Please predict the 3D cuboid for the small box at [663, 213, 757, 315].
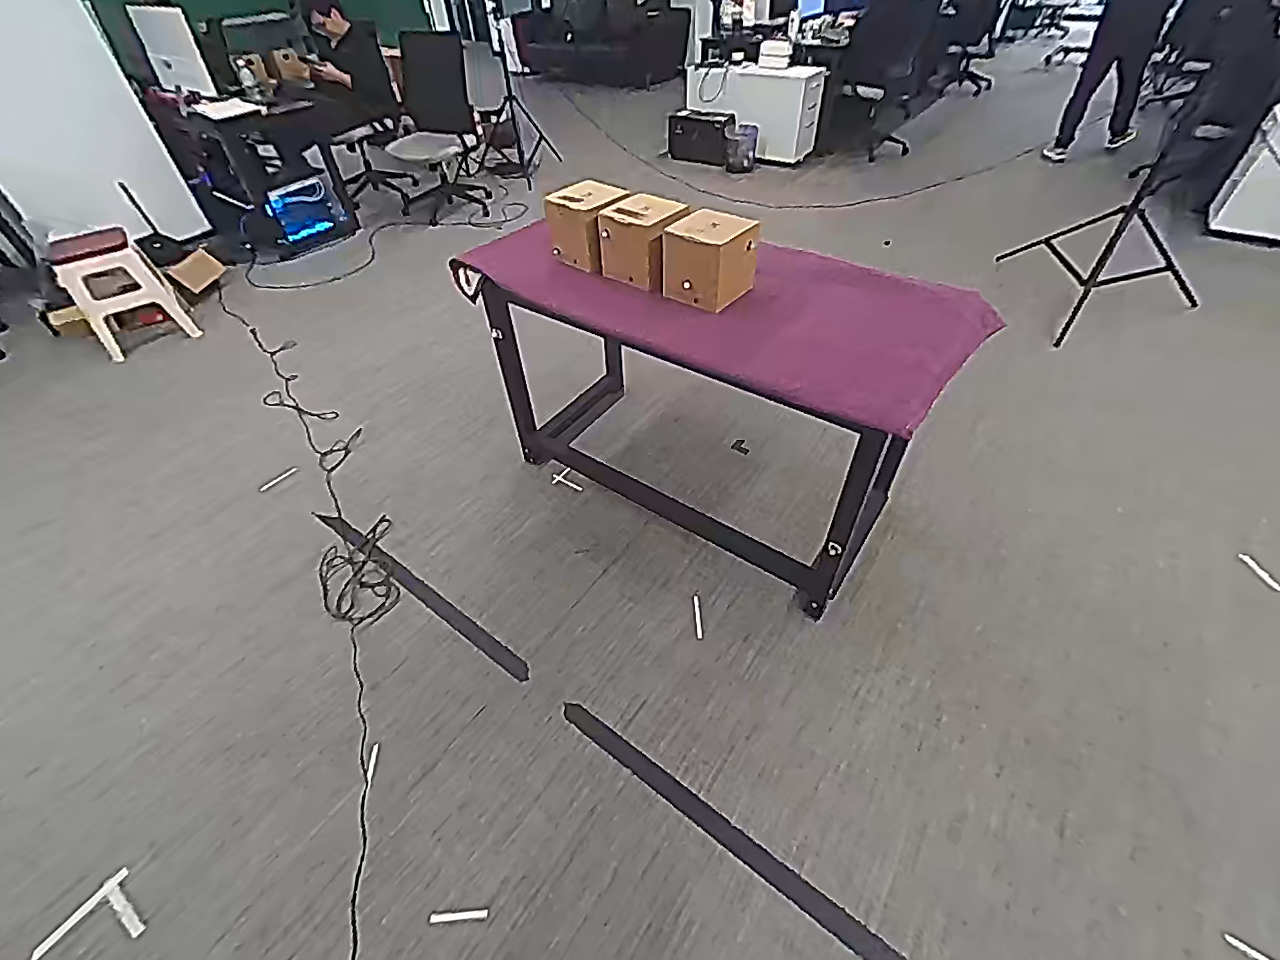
[{"bbox_3d":[0.169,-0.538,1.343,0.168,0.176,0.179,28,53,28],"label":"small box"}]
